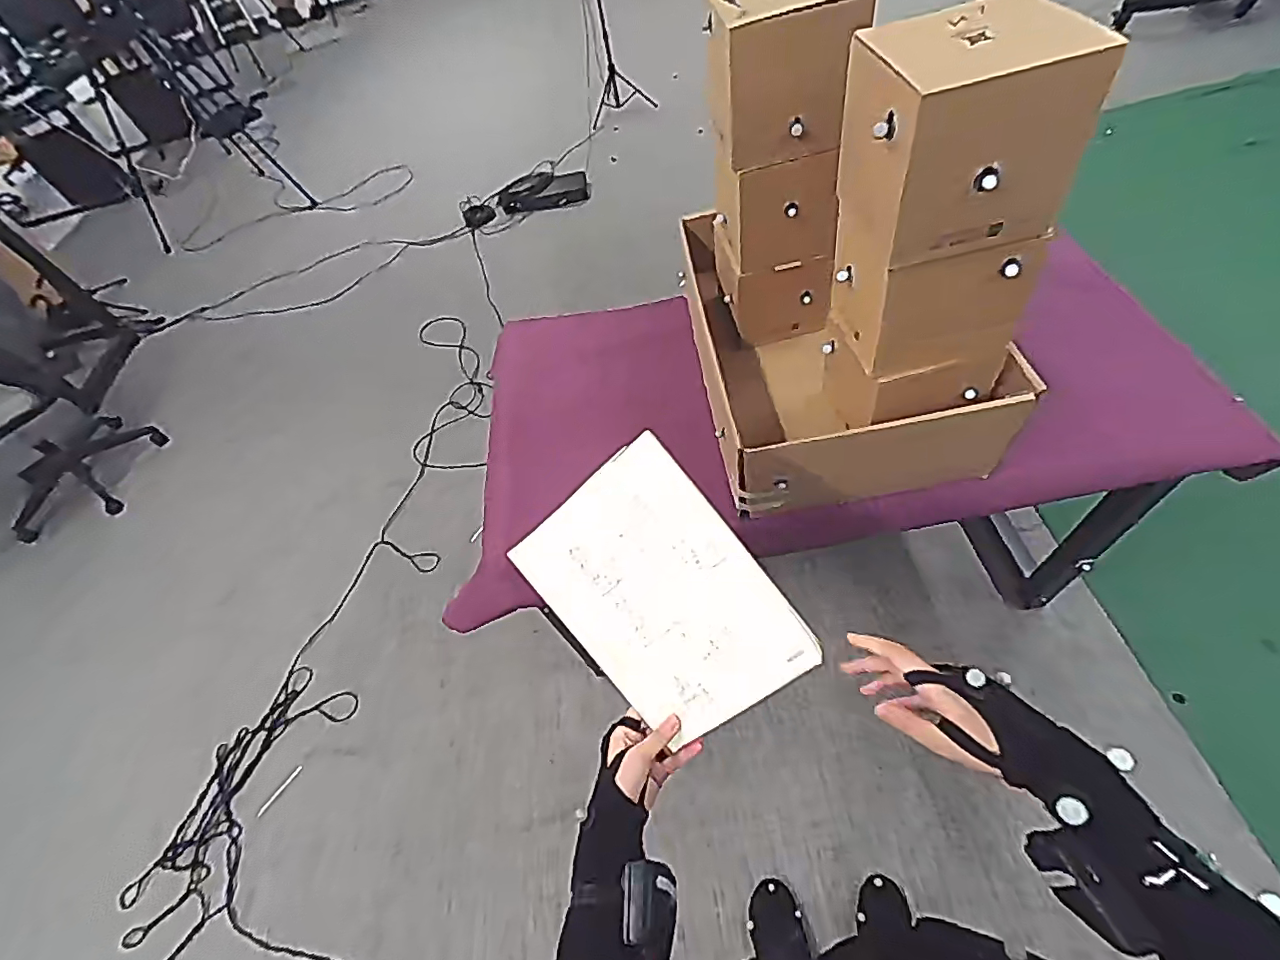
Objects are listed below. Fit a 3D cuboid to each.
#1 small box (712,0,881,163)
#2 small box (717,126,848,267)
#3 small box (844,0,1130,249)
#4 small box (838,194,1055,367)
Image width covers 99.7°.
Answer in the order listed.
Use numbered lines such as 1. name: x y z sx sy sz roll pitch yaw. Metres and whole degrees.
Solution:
1. small box: 0.196 -0.565 0.731 0.179 0.176 0.168 -10 55 4
2. small box: 0.227 -0.472 0.863 0.179 0.176 0.168 -13 55 4
3. small box: 0.323 -0.358 0.553 0.168 0.176 0.179 -11 52 5
4. small box: 0.361 -0.264 0.683 0.179 0.176 0.168 -11 53 5
